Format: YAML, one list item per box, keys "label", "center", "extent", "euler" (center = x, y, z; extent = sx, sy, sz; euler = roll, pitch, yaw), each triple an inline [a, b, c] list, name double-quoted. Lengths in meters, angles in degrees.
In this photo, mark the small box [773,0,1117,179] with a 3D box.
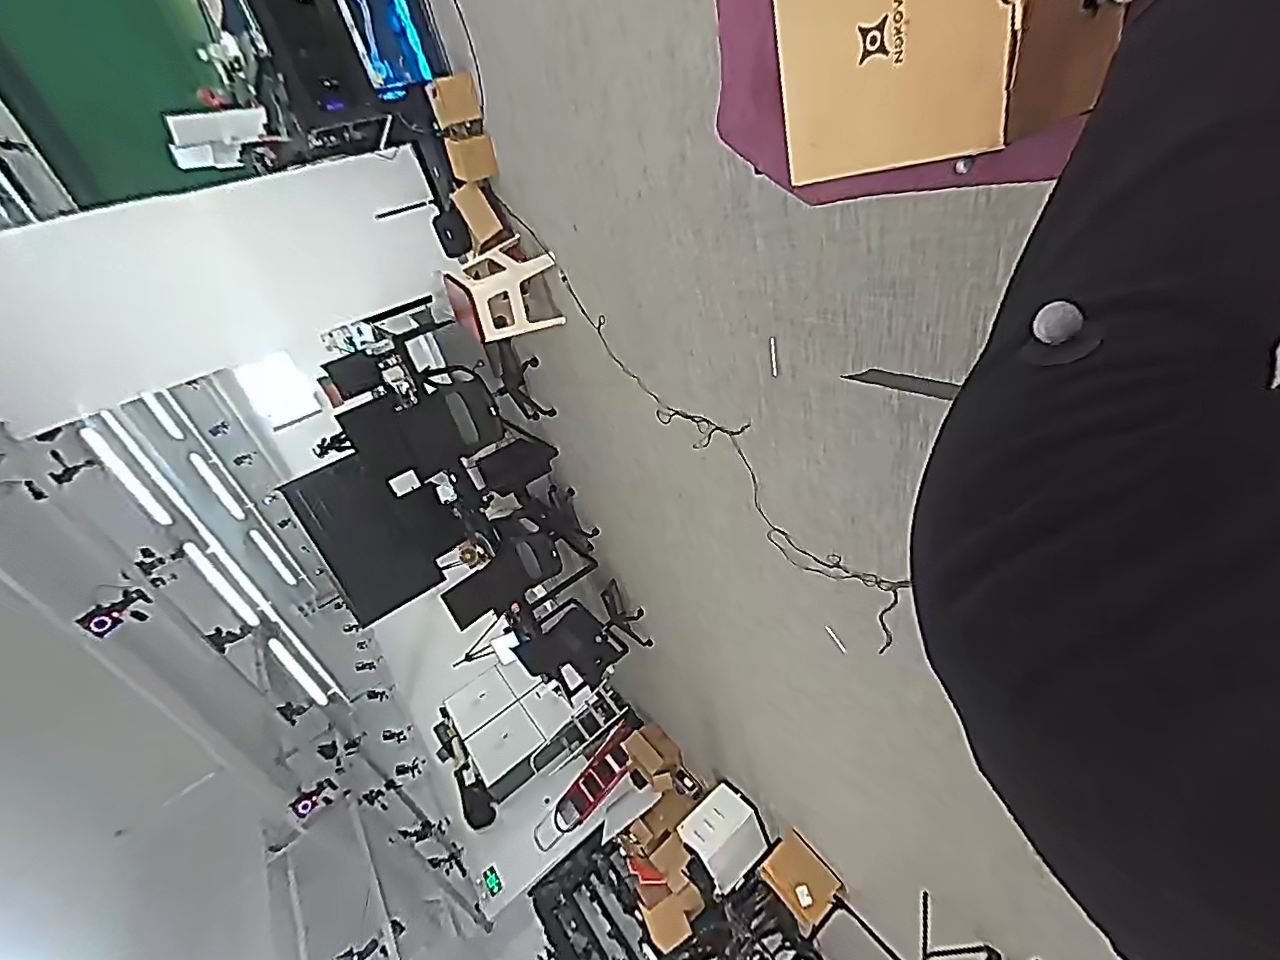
- label: "small box"
  center: [0.227, -0.349, 0.412]
  extent: [0.179, 0.176, 0.168]
  euler: [23, 137, 50]
